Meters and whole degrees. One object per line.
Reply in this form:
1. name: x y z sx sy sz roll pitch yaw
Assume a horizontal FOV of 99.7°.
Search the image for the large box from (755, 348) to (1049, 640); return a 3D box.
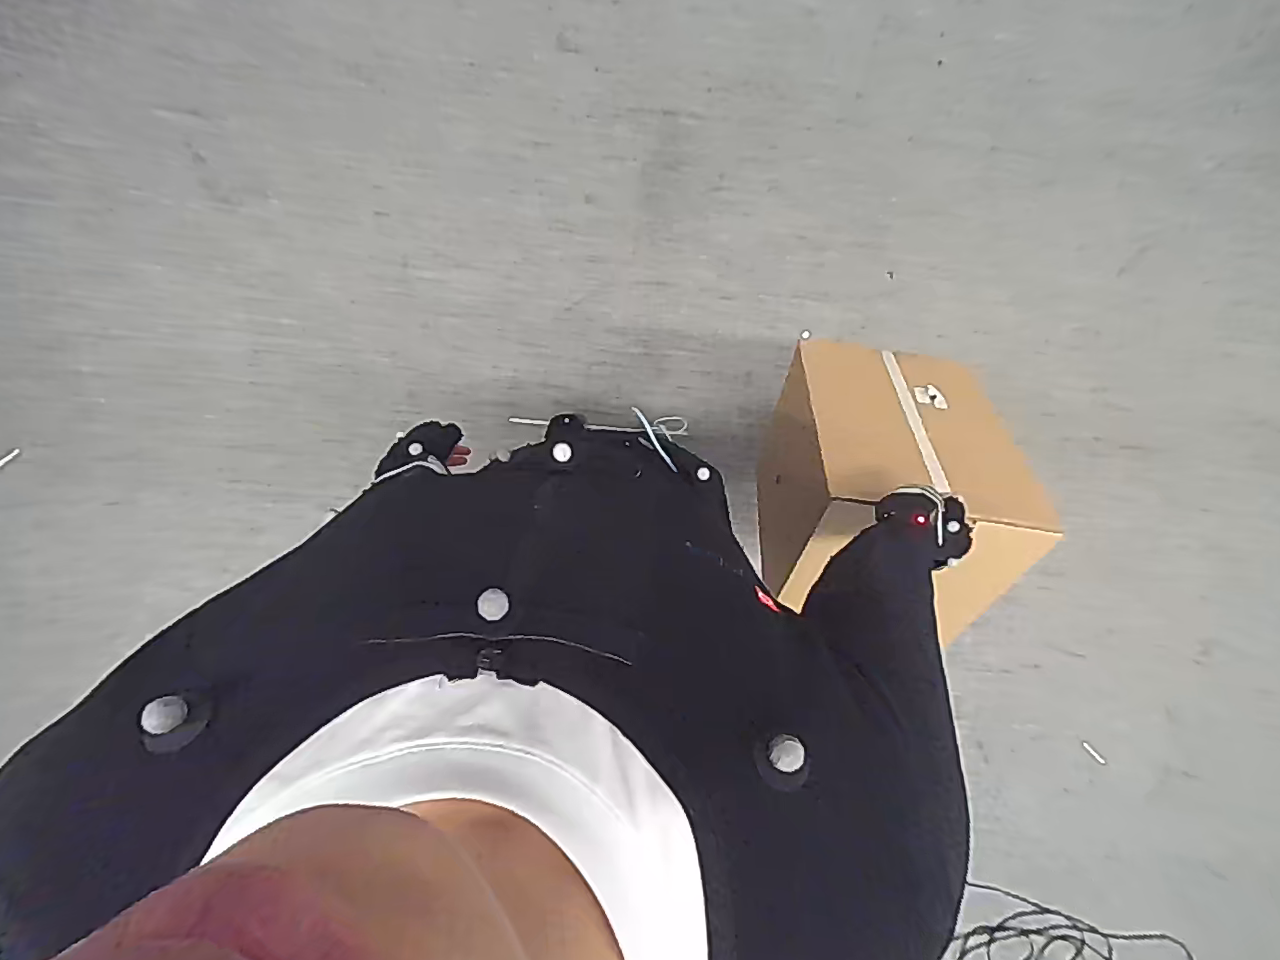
1. large box: 0.401 0.018 0.964 0.320 0.408 0.320 10 134 -1
